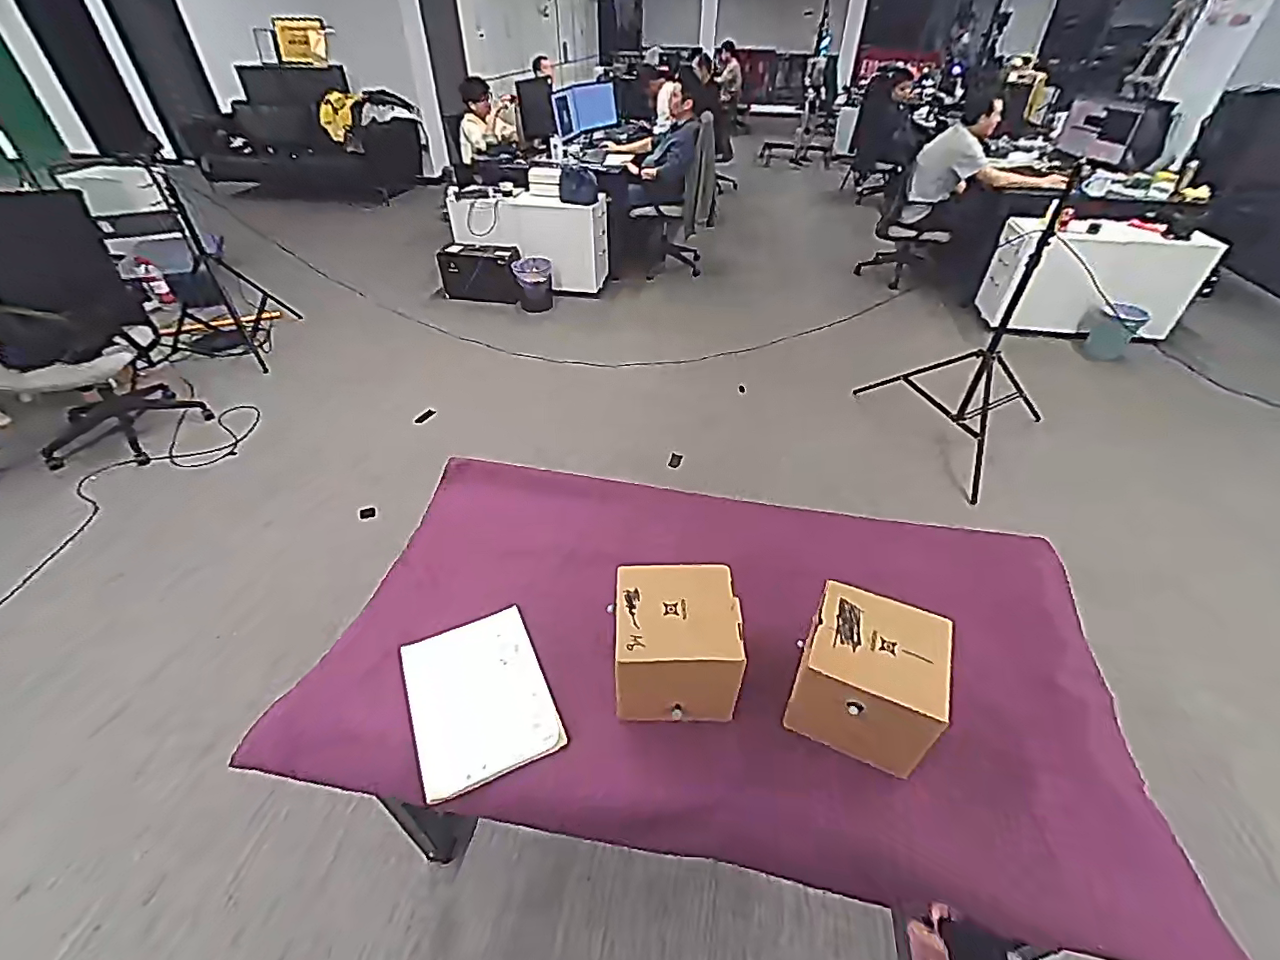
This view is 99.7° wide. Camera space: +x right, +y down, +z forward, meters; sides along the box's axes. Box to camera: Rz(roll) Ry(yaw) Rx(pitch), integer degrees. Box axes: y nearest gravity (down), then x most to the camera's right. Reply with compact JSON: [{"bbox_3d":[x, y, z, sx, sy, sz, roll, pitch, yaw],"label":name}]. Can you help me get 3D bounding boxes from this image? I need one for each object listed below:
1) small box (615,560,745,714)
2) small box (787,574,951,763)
[{"bbox_3d":[0.051,0.240,0.826,0.179,0.176,0.168,0,40,-1],"label":"small box"},{"bbox_3d":[0.326,0.273,0.785,0.179,0.176,0.168,18,42,19],"label":"small box"}]
